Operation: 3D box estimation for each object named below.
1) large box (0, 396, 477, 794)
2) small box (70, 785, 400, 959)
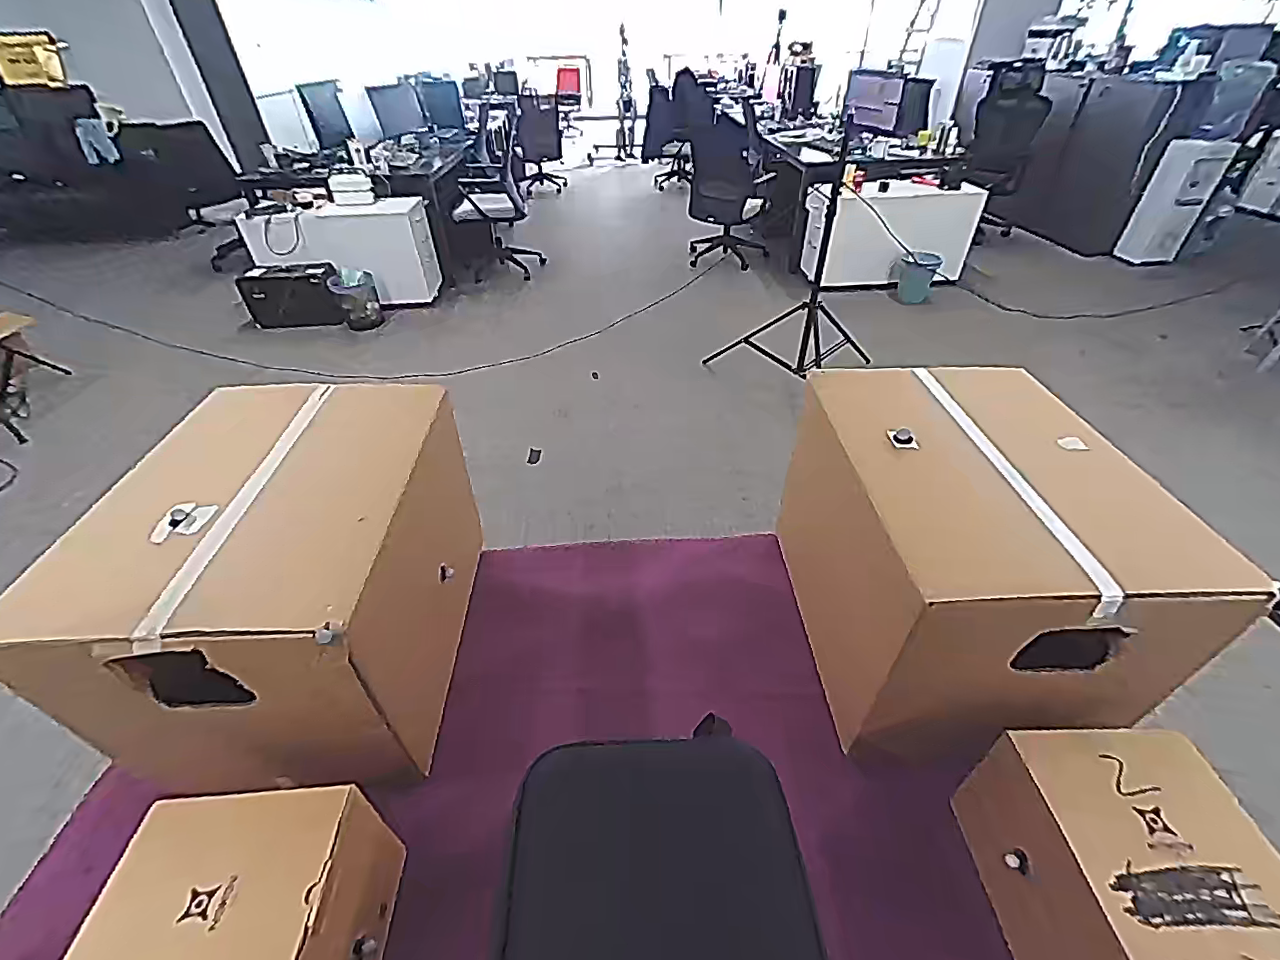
[{"bbox_3d":[-0.416,0.130,0.701,0.320,0.320,0.408,-2,42,-3],"label":"large box"},{"bbox_3d":[-0.343,0.401,0.481,0.179,0.176,0.168,-4,38,-4],"label":"small box"}]
